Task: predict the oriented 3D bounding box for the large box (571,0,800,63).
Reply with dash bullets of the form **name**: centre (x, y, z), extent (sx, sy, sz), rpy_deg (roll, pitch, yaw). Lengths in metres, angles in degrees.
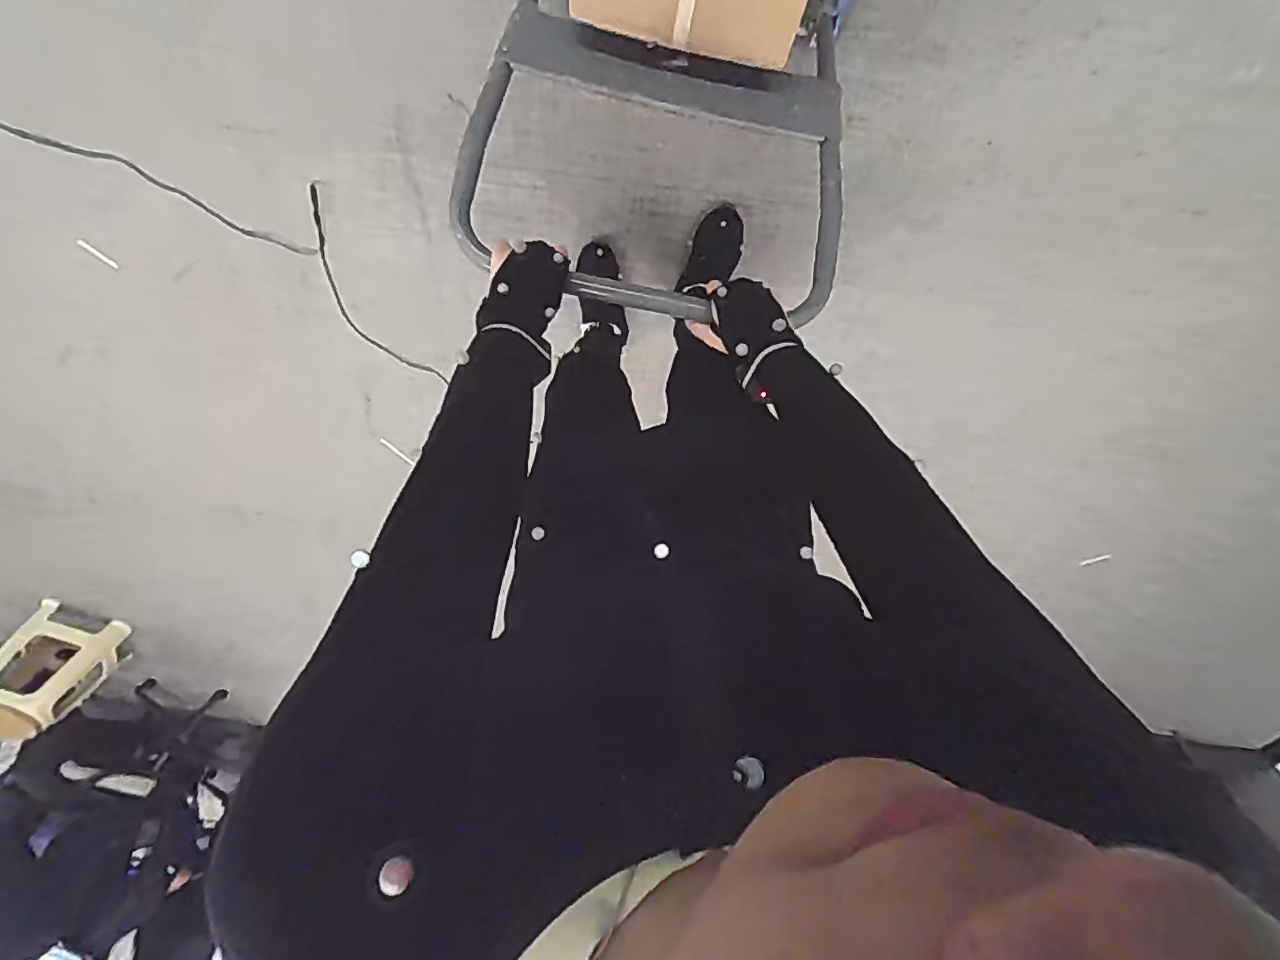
- **large box**: centre (0.098, -0.852, 0.678), extent (0.320, 0.320, 0.408), rpy_deg (10, 150, -4)
